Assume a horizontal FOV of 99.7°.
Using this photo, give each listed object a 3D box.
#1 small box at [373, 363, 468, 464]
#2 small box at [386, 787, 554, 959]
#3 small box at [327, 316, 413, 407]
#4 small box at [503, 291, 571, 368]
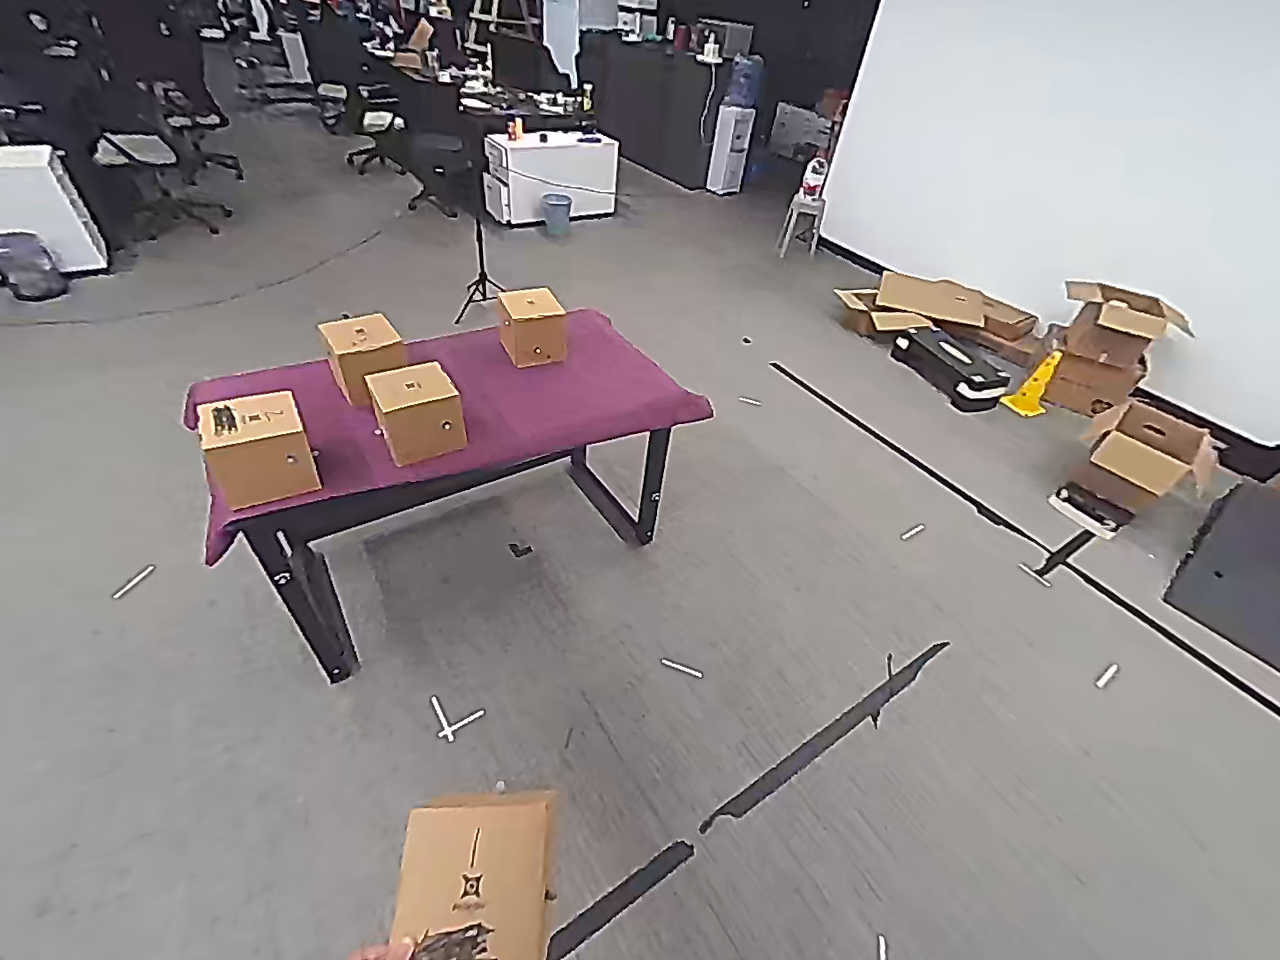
[{"bbox_3d":[-0.539,-0.166,1.345,0.179,0.176,0.168,-19,49,-27],"label":"small box"},{"bbox_3d":[-0.201,0.500,0.690,0.168,0.176,0.179,1,64,-4],"label":"small box"},{"bbox_3d":[-0.736,-0.327,1.493,0.168,0.176,0.179,-23,51,-29],"label":"small box"},{"bbox_3d":[-0.329,-0.477,1.716,0.168,0.176,0.179,-16,49,-23],"label":"small box"}]
